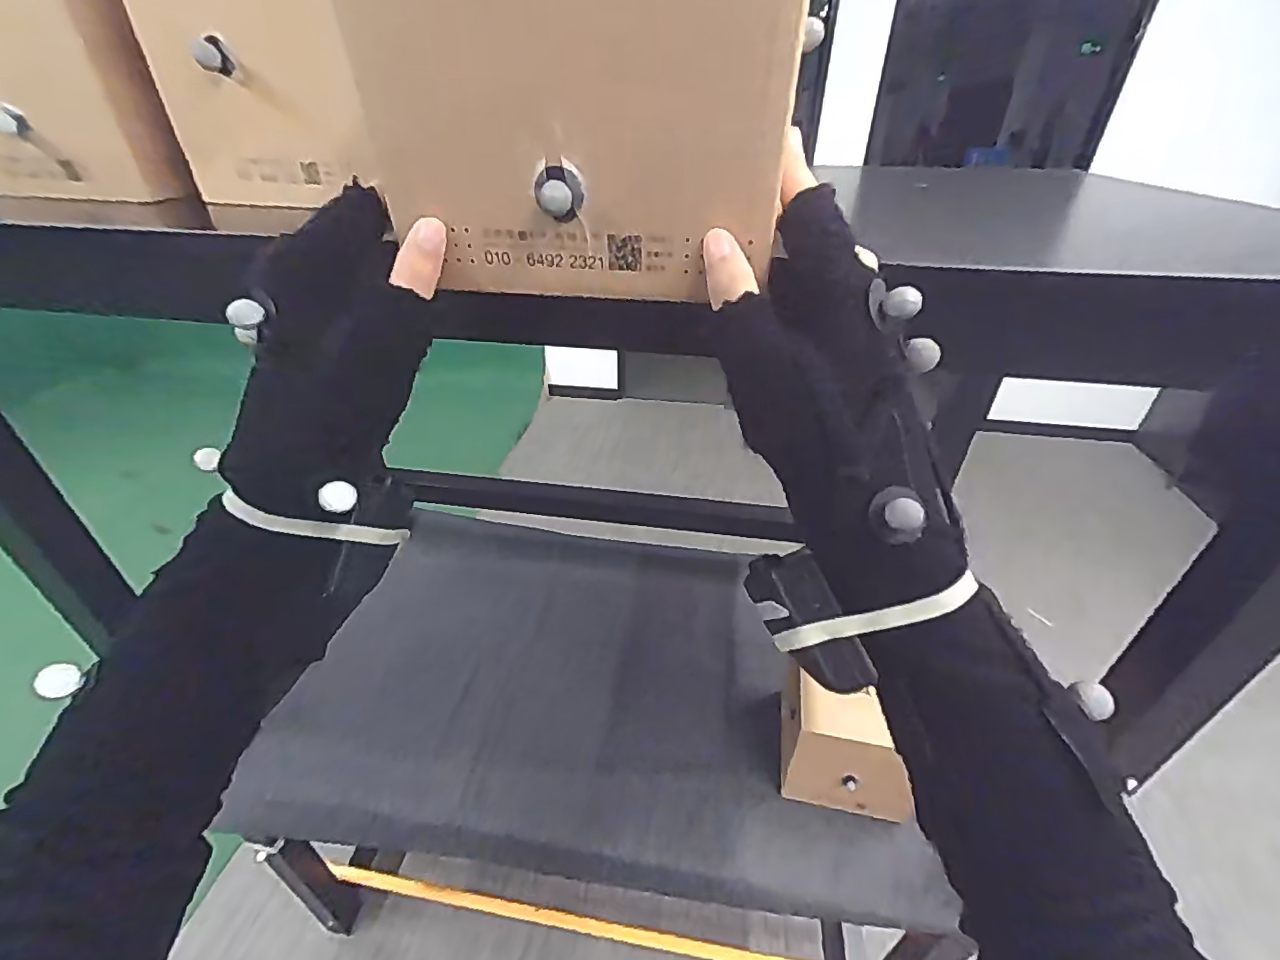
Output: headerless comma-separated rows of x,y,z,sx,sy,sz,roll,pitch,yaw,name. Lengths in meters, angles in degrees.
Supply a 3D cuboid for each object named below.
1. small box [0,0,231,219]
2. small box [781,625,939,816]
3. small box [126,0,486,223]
-0.435,-0.330,0.457,0.168,0.176,0.179,6,36,8,small box
0.298,0.341,0.772,0.168,0.176,0.179,8,34,10,small box
-0.240,-0.311,0.436,0.168,0.176,0.179,7,34,9,small box
